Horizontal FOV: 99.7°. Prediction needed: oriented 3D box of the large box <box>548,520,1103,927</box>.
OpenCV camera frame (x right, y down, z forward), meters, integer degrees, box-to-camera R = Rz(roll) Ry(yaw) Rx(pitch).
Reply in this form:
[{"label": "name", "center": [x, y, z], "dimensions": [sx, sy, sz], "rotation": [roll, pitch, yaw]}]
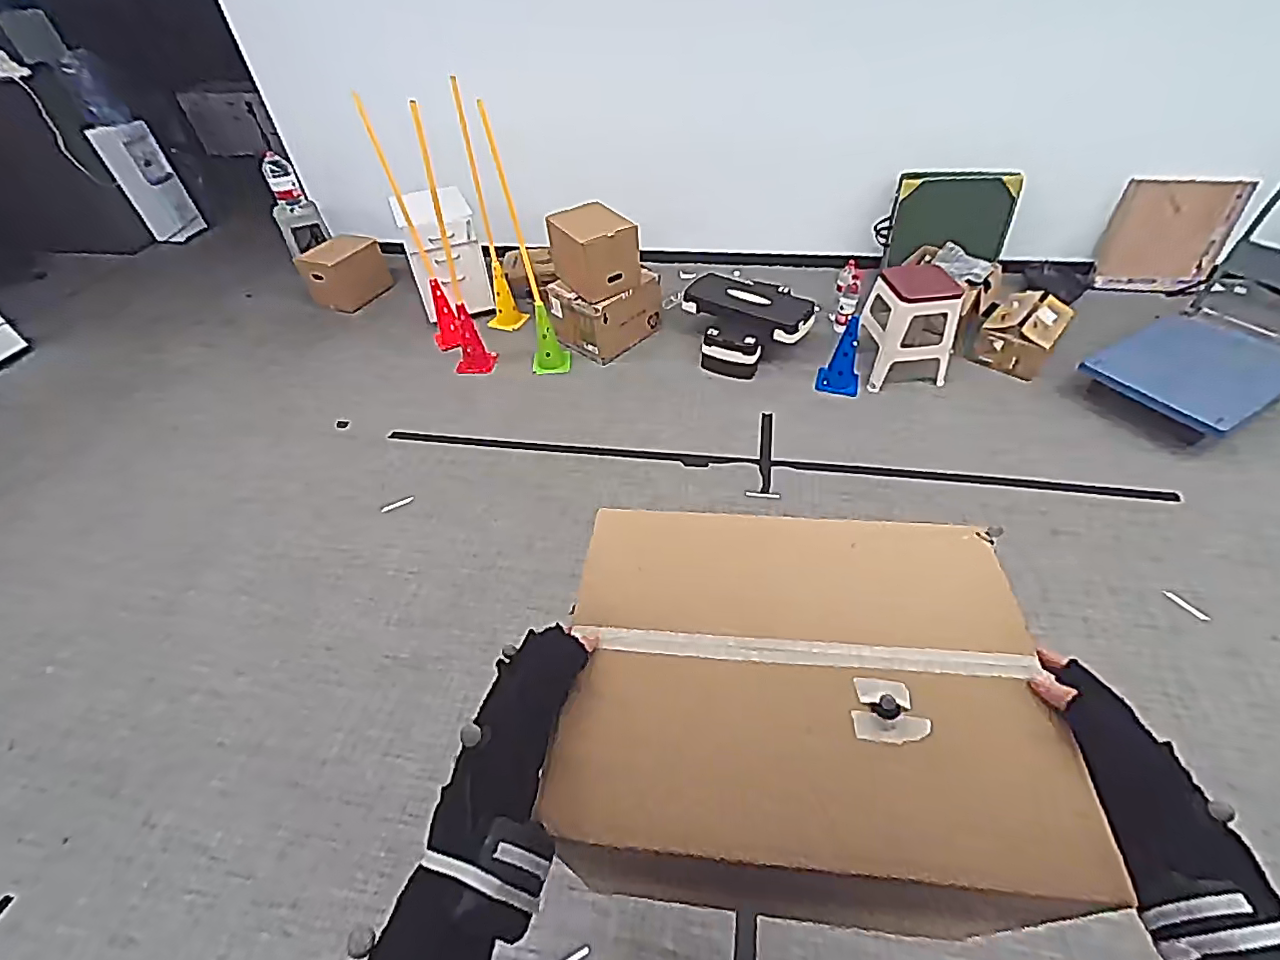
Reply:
[{"label": "large box", "center": [0.145, 0.264, 0.599], "dimensions": [0.408, 0.320, 0.320], "rotation": [2, 47, 7]}]
